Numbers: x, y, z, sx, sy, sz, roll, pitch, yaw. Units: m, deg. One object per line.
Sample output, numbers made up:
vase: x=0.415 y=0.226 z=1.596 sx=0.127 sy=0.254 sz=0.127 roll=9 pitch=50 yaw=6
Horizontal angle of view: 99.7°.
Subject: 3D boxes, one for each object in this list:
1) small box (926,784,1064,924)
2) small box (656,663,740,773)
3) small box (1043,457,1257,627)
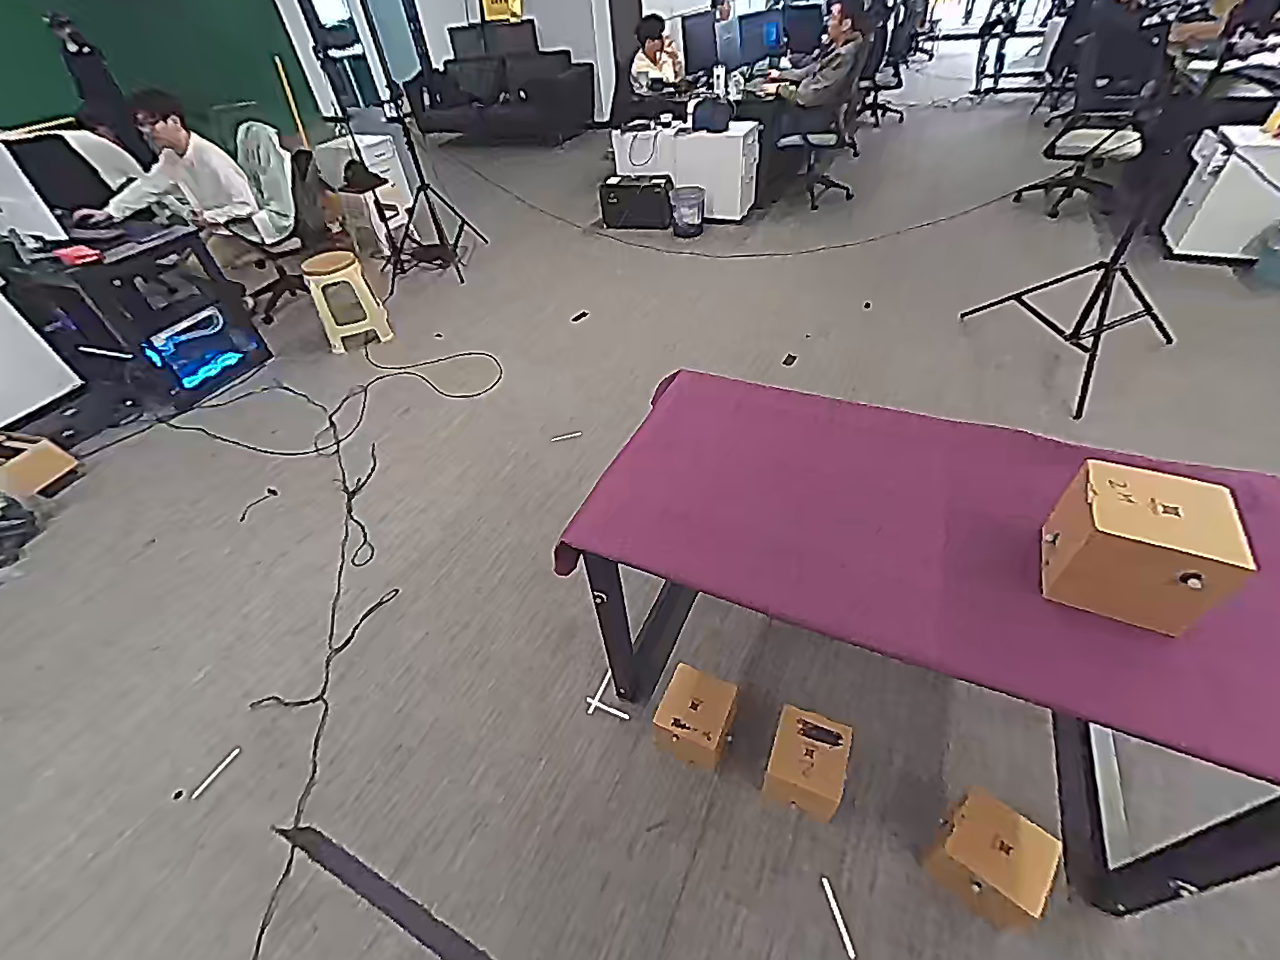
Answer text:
small box: x=0.746 y=0.798 z=1.150 sx=0.179 sy=0.176 sz=0.168 roll=29 pitch=55 yaw=33
small box: x=0.150 y=0.619 z=1.407 sx=0.168 sy=0.176 sz=0.179 roll=16 pitch=47 yaw=22
small box: x=0.751 y=0.096 z=0.821 sx=0.179 sy=0.176 sz=0.168 roll=16 pitch=47 yaw=23
